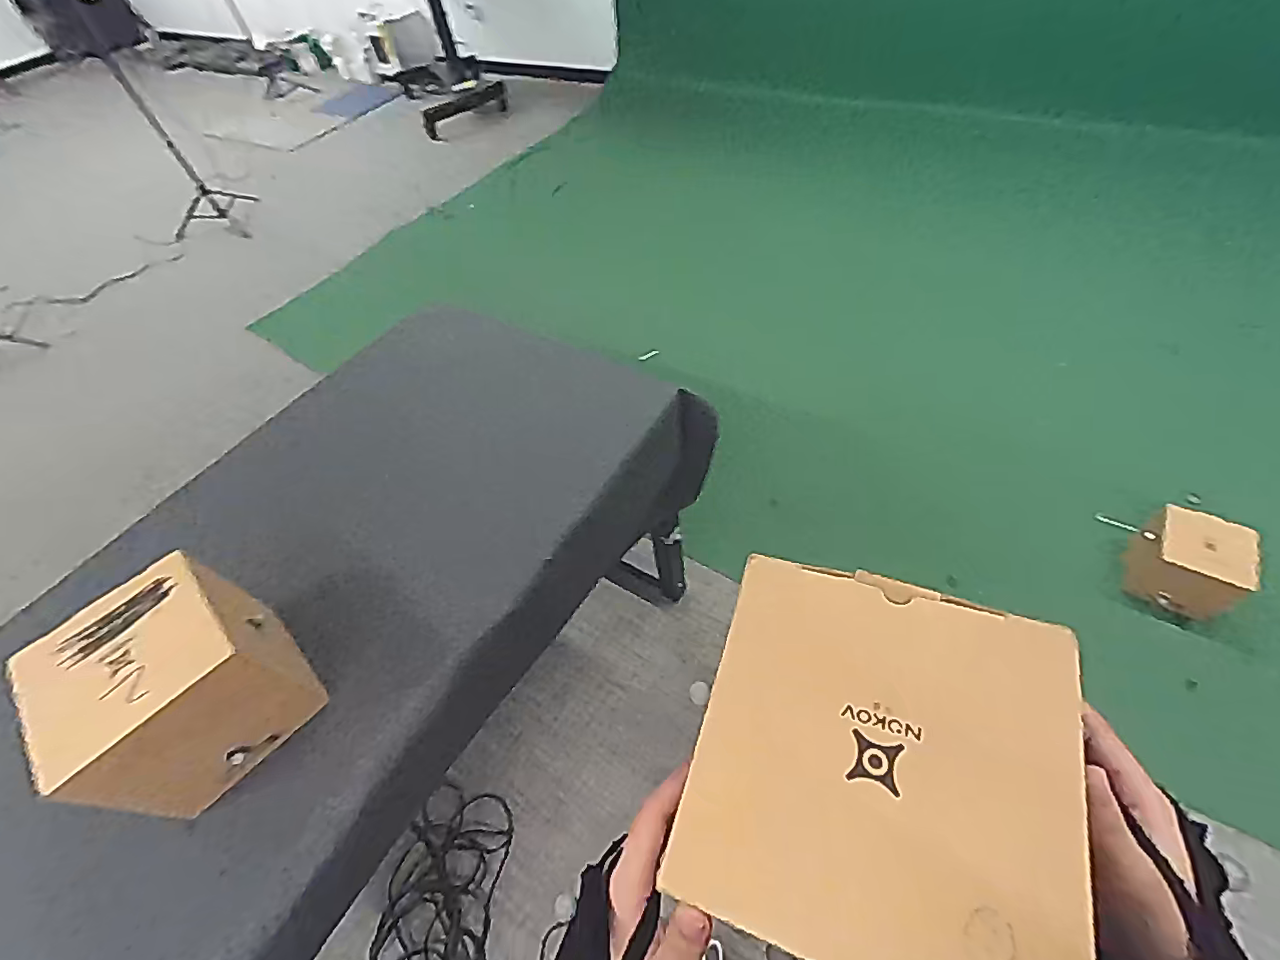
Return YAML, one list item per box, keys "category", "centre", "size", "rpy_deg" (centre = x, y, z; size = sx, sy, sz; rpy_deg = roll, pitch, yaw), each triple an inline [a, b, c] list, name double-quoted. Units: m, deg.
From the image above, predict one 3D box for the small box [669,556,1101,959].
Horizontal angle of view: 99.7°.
- category: "small box"
  centre: [0.131, 0.175, 0.318]
  size: [0.168, 0.176, 0.179]
  rpy_deg: [12, 58, 20]

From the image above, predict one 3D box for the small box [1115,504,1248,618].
- category: "small box"
  centre: [1.280, 0.195, 1.288]
  size: [0.168, 0.176, 0.179]
  rpy_deg: [23, 60, 24]
